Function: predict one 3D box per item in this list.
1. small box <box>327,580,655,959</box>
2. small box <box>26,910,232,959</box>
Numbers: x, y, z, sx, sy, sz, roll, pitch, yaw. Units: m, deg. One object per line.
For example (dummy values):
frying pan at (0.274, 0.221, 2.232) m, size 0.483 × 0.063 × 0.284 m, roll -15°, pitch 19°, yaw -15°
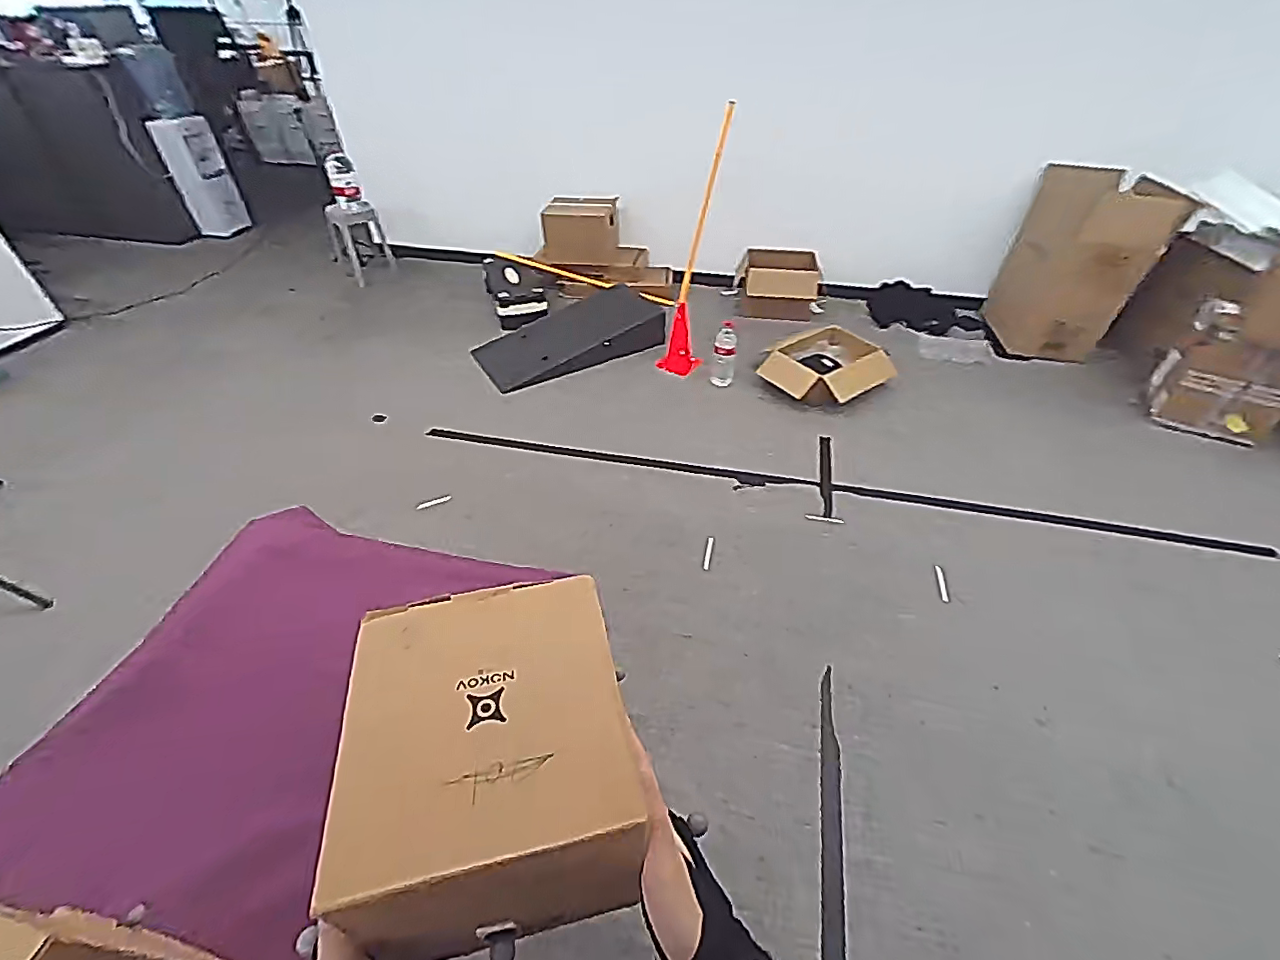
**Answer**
small box at (-0.092, 0.201, 0.385) m, size 0.168 × 0.176 × 0.179 m, roll -8°, pitch 41°, yaw -11°
small box at (-0.454, 0.514, 0.467) m, size 0.179 × 0.176 × 0.168 m, roll 9°, pitch 44°, yaw 11°
